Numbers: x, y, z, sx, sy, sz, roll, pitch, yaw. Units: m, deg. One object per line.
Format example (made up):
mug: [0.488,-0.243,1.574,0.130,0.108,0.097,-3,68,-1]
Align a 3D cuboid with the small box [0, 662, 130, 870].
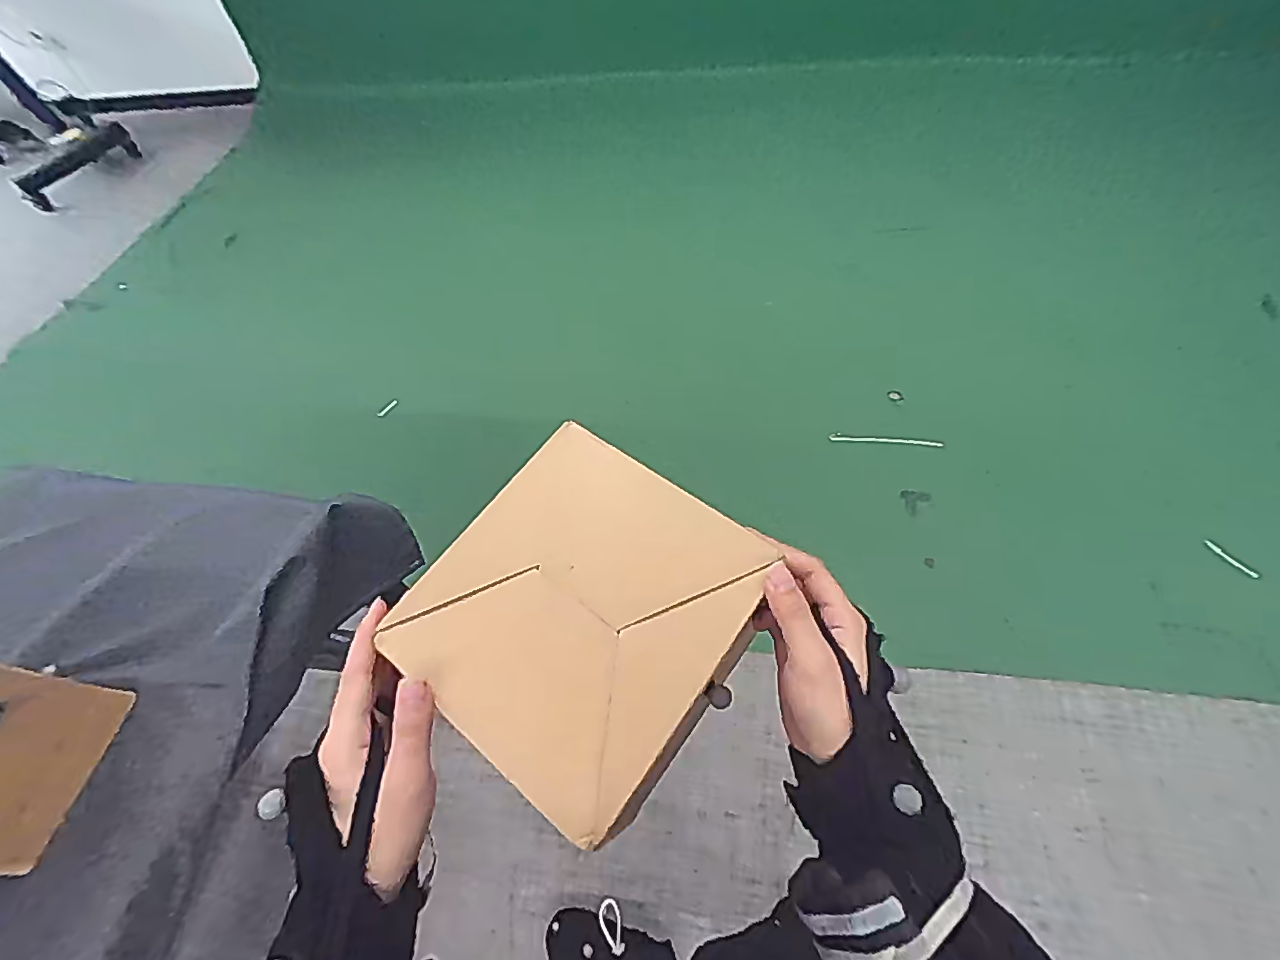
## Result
small box: [-0.689,0.276,0.539,0.168,0.176,0.179,5,57,10]
